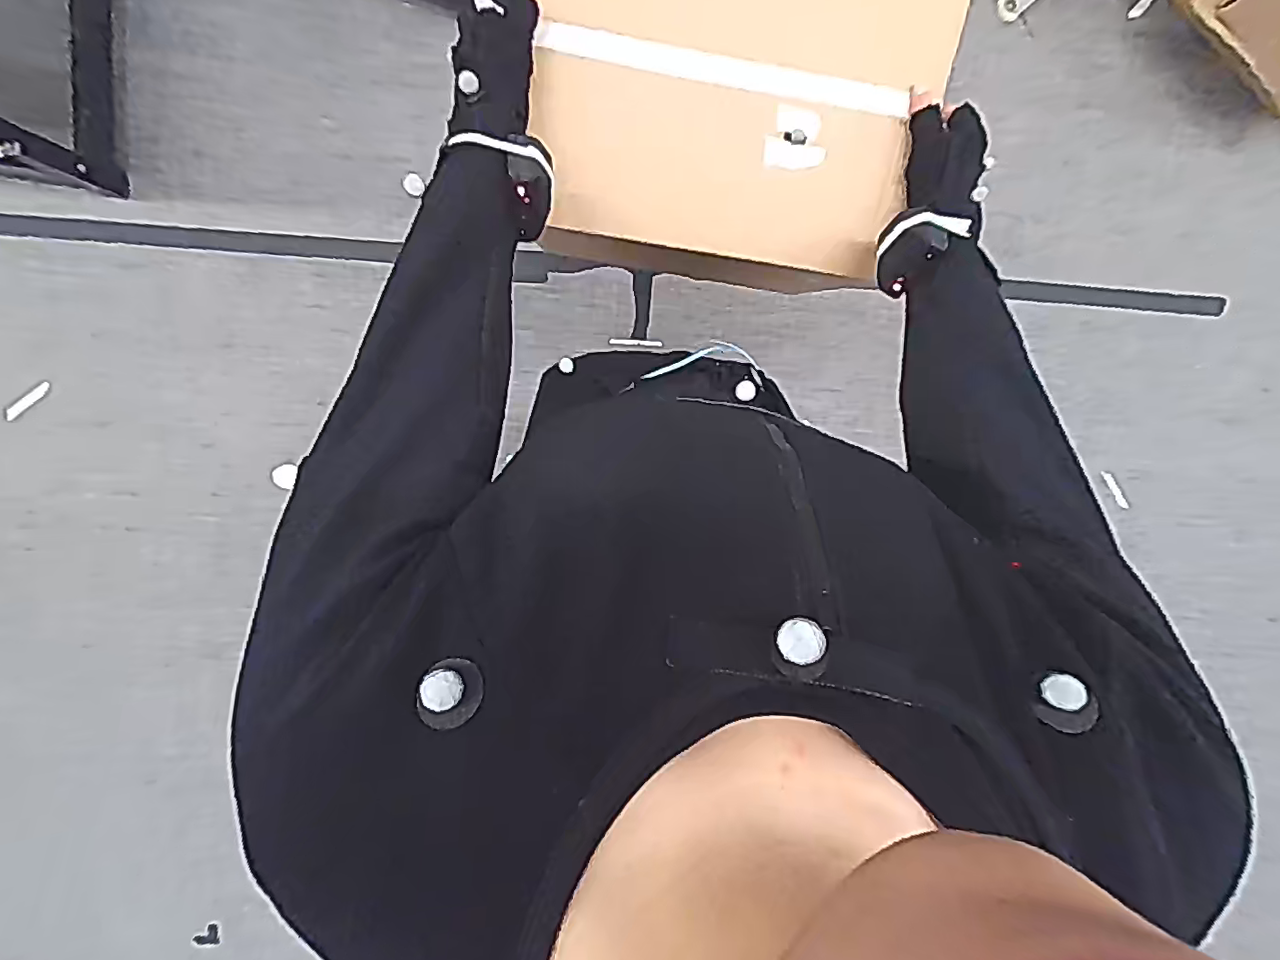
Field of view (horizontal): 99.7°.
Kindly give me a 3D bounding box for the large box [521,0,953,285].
[{"bbox_3d":[0.080,-0.434,0.666,0.408,0.320,0.320,7,108,-6],"label":"large box"}]
